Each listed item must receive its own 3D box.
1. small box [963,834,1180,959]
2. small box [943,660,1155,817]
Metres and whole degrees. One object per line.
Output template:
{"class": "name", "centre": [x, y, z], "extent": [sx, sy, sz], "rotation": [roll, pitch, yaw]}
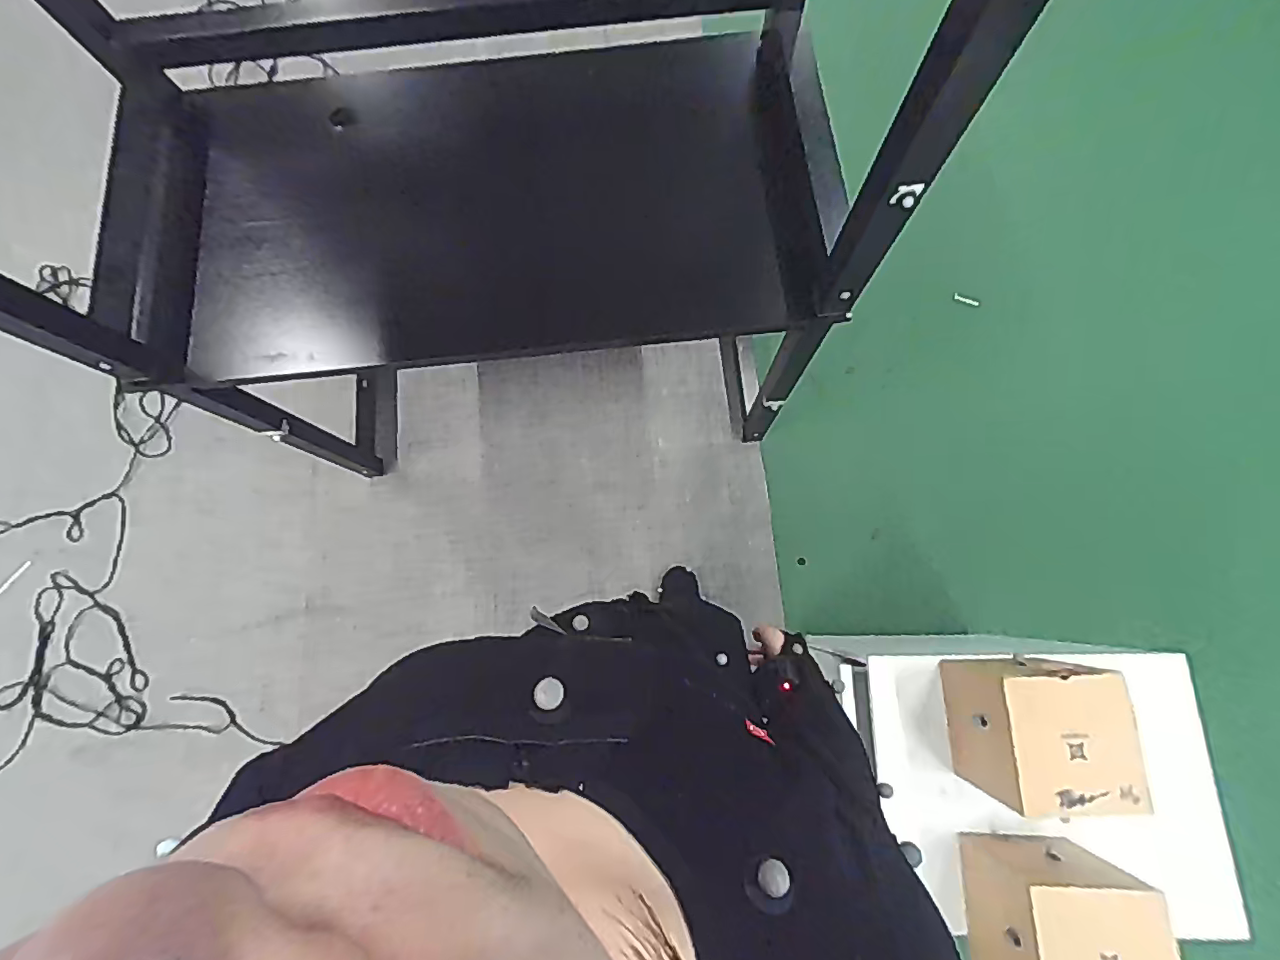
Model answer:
{"class": "small box", "centre": [0.557, 0.598, 0.716], "extent": [0.168, 0.176, 0.179], "rotation": [1, 78, 3]}
{"class": "small box", "centre": [0.562, 0.354, 0.773], "extent": [0.168, 0.176, 0.179], "rotation": [-2, 78, 2]}
